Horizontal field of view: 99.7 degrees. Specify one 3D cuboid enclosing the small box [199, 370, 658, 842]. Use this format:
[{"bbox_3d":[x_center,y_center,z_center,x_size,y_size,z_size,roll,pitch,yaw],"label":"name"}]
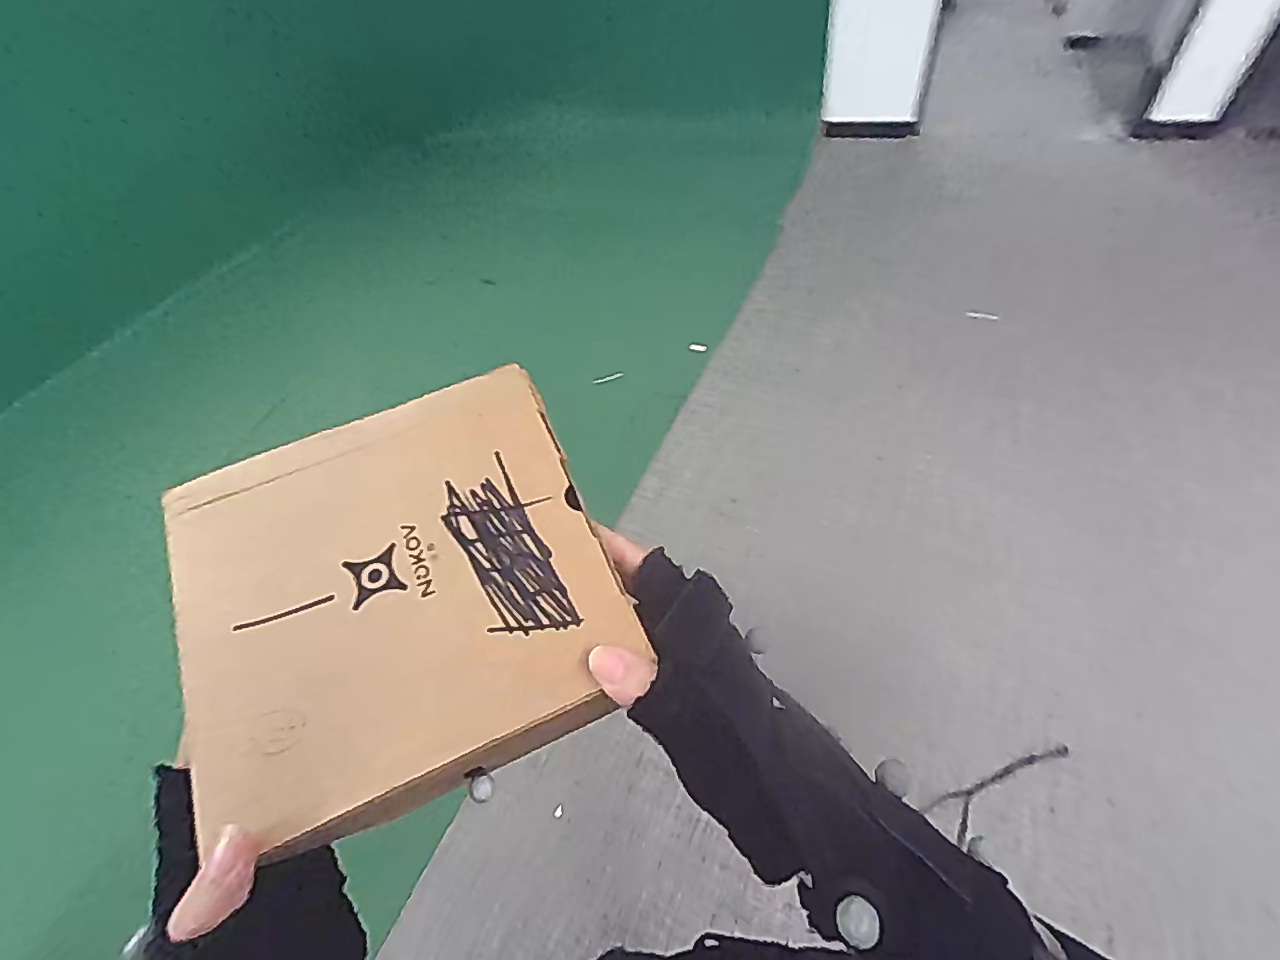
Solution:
[{"bbox_3d":[-0.103,0.071,0.316,0.179,0.176,0.168,-21,66,-10],"label":"small box"}]
